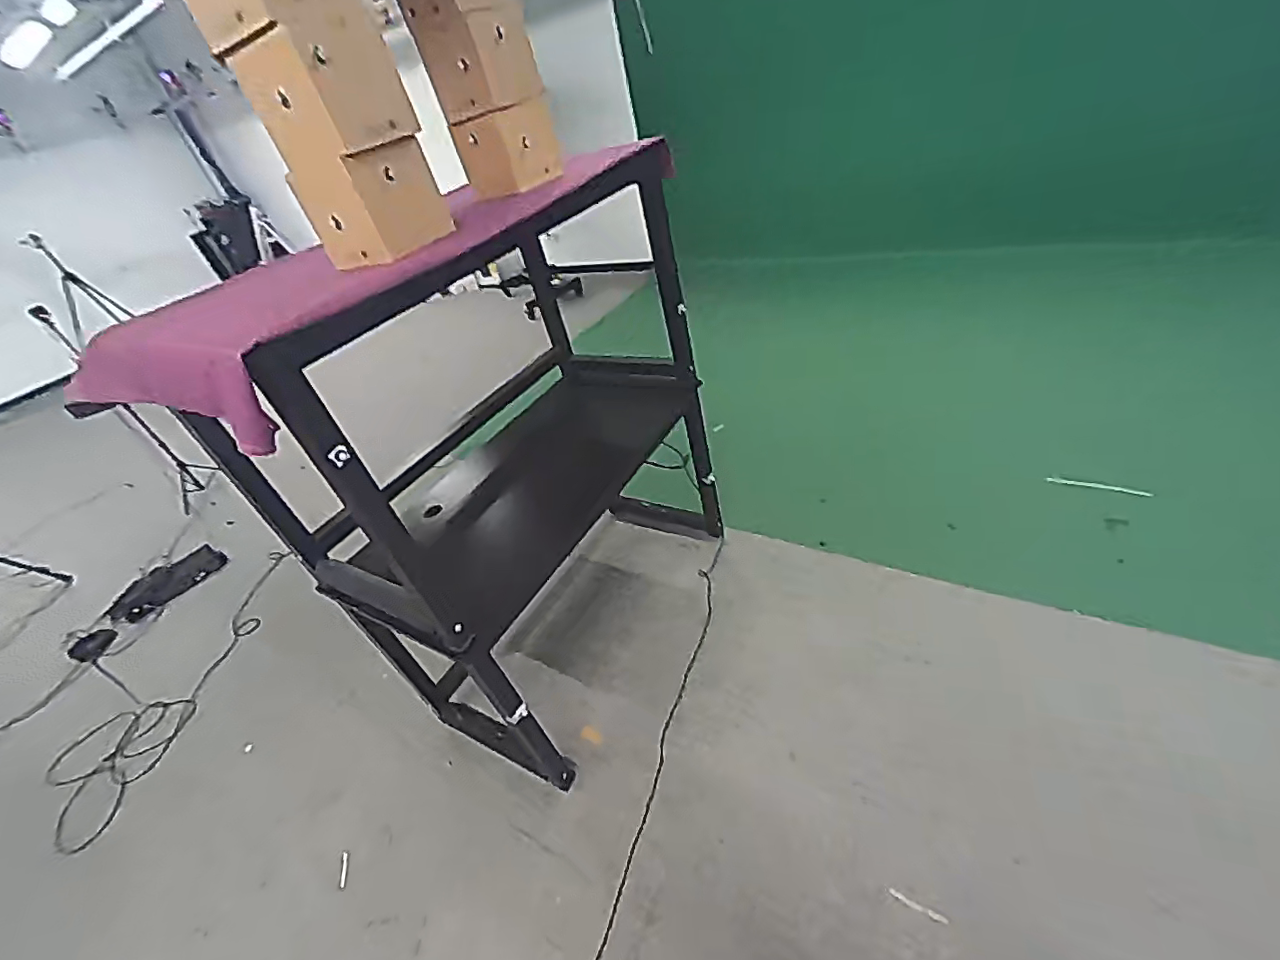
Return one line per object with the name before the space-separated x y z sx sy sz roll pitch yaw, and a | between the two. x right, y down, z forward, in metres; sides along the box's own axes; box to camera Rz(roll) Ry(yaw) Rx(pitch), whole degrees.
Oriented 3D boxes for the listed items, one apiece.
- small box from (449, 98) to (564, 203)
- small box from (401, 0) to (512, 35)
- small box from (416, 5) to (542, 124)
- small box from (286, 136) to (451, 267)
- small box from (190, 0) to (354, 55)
small box | -0.310 -0.780 1.291 0.179 0.176 0.168 13 46 35
small box | -0.391 -1.033 1.099 0.168 0.176 0.179 12 45 33
small box | -0.344 -0.903 1.188 0.168 0.176 0.179 11 44 32
small box | -0.482 -0.499 0.986 0.168 0.176 0.179 8 43 29
small box | -0.560 -0.754 0.797 0.168 0.176 0.179 6 42 29
